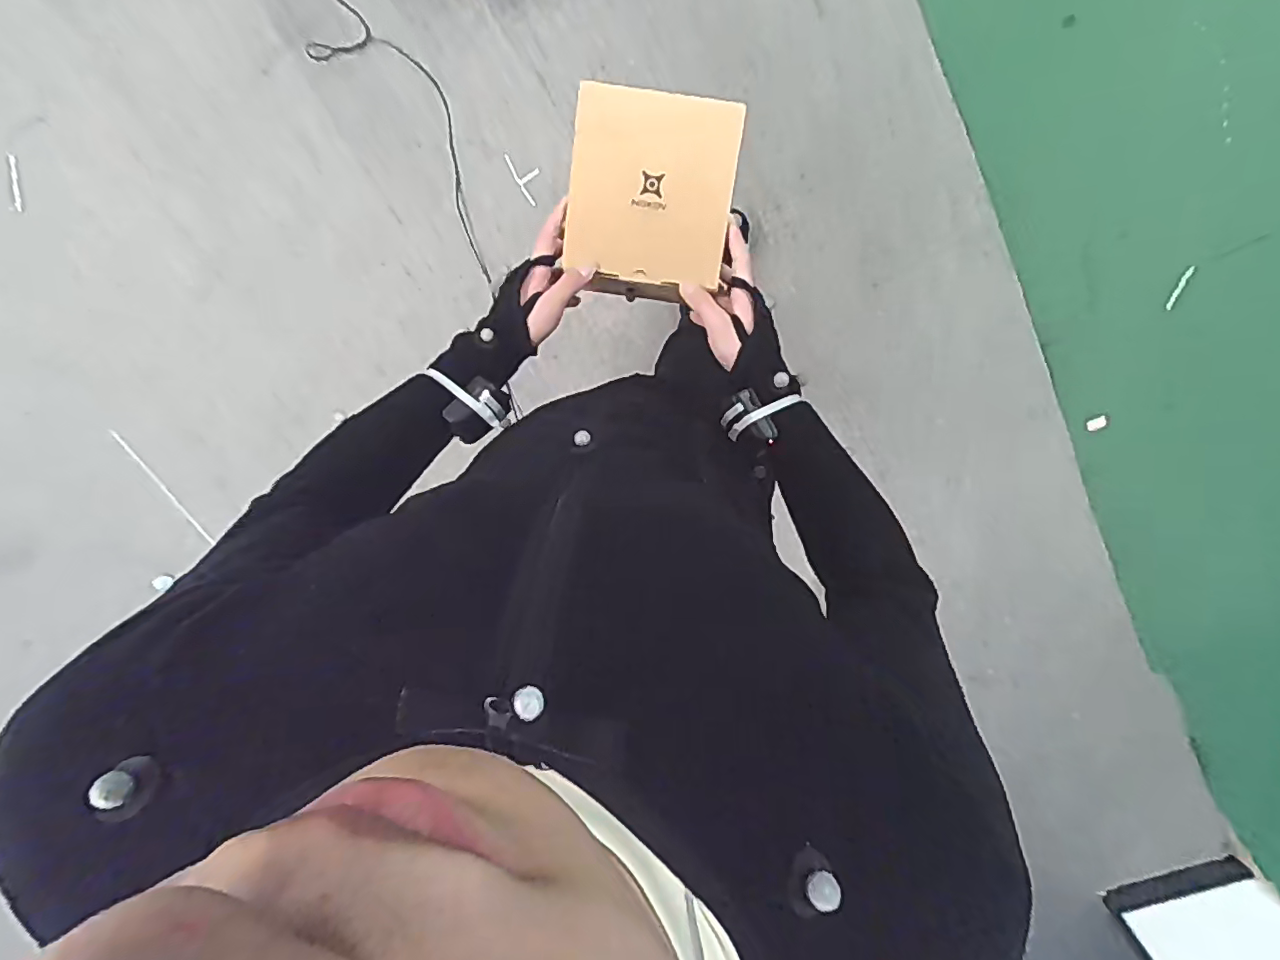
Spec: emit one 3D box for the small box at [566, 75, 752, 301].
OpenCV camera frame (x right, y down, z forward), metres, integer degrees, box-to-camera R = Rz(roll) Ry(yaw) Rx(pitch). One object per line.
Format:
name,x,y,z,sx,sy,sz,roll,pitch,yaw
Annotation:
small box,0.016,-0.311,0.616,0.168,0.176,0.179,8,105,-2
